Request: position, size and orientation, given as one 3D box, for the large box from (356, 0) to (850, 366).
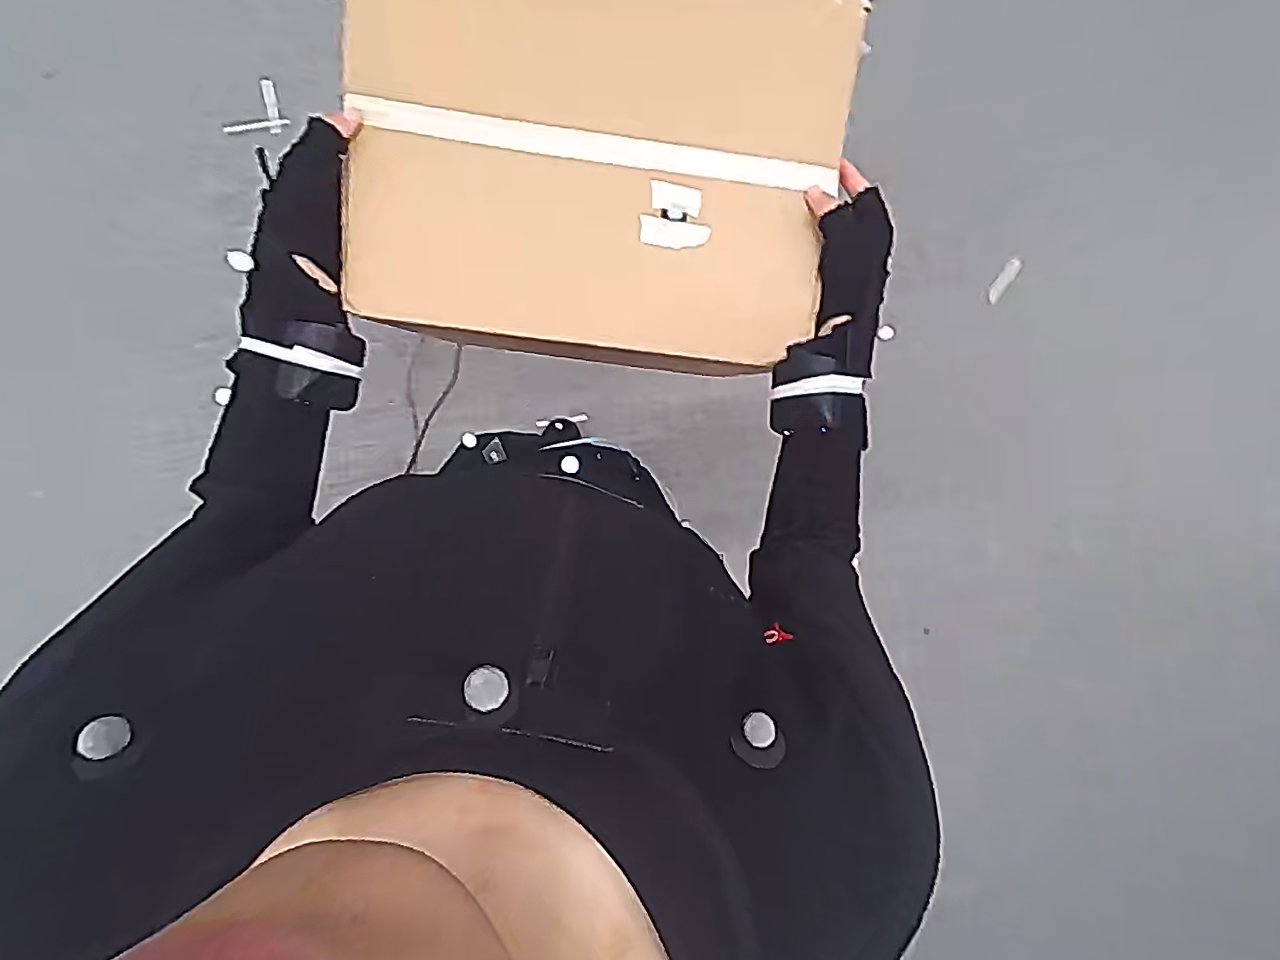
[{"bbox_3d":[-0.047,-0.307,0.605,0.408,0.320,0.320,6,101,-6],"label":"large box"}]
